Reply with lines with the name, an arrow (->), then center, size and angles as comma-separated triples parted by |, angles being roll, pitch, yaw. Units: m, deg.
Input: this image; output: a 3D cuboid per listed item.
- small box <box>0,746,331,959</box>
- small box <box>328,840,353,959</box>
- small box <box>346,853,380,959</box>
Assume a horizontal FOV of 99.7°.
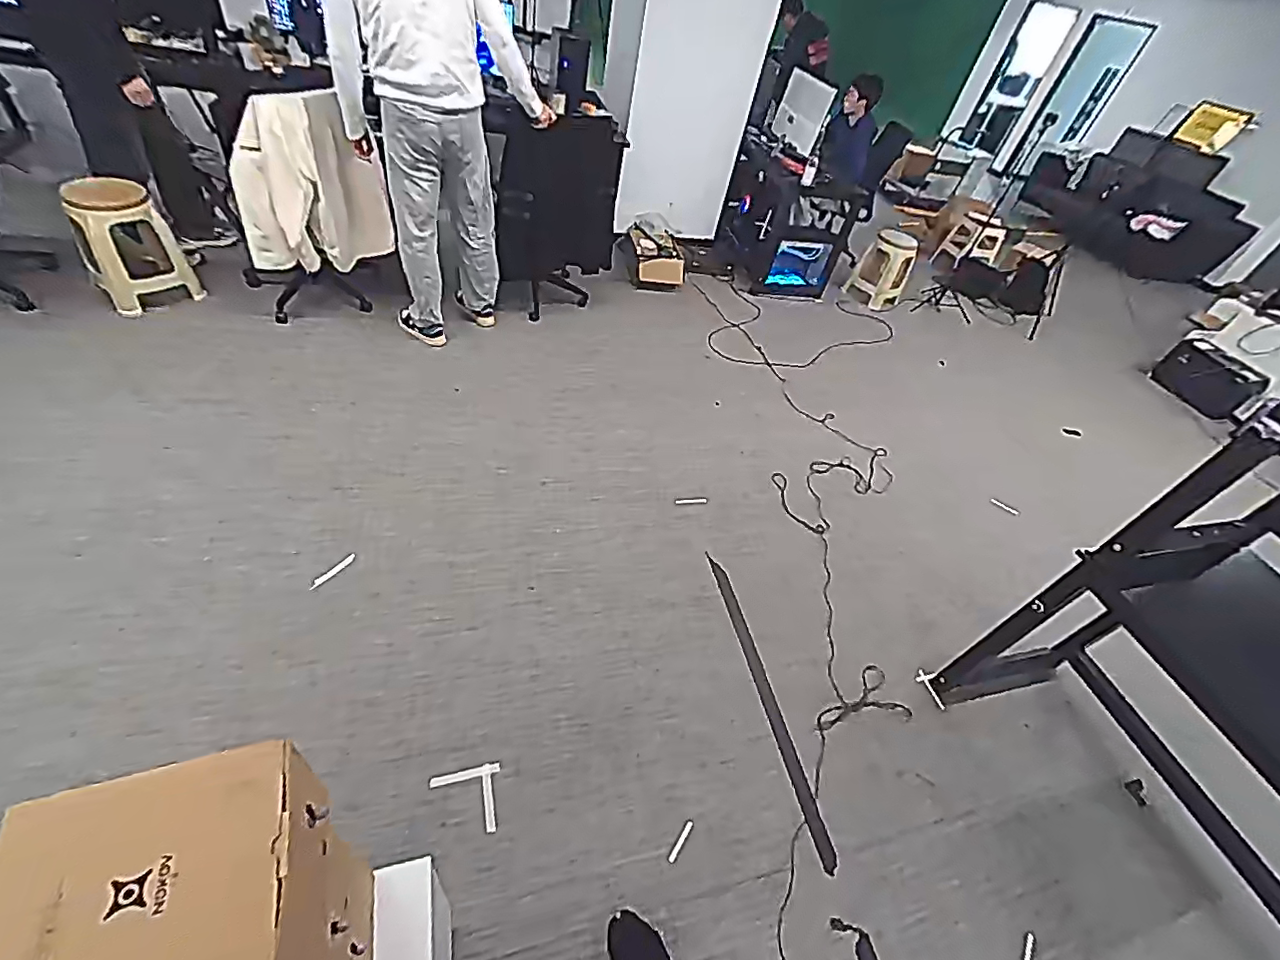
small box -> -0.355, 0.343, 0.426 | 0.179, 0.176, 0.168 | -9, 49, -22
small box -> -0.392, 0.466, 0.528 | 0.179, 0.176, 0.168 | -5, 48, -19
small box -> -0.423, 0.579, 0.644 | 0.179, 0.176, 0.168 | -5, 49, -19
